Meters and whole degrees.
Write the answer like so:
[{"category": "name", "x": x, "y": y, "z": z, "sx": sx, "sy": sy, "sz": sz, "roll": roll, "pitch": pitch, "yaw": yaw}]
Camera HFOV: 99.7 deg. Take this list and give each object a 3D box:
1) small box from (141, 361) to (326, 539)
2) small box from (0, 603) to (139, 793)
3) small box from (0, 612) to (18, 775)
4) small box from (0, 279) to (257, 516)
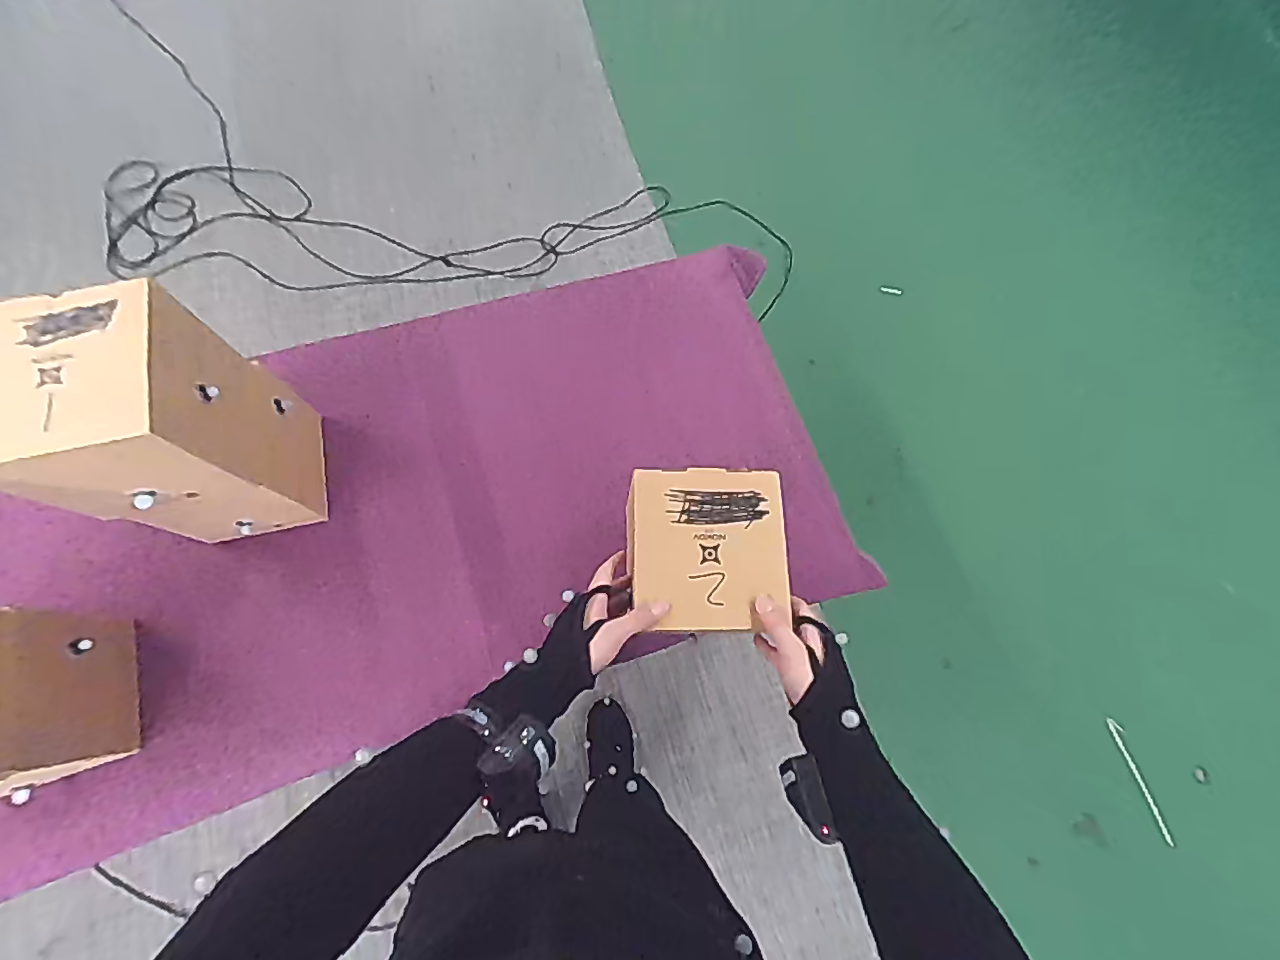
[{"category": "small box", "x": -0.551, "y": -0.033, "z": 0.731, "sx": 0.168, "sy": 0.176, "sz": 0.179, "roll": -11, "pitch": 74, "yaw": -8}, {"category": "small box", "x": -0.729, "y": 0.259, "z": 0.621, "sx": 0.168, "sy": 0.176, "sz": 0.179, "roll": -16, "pitch": 73, "yaw": -9}, {"category": "small box", "x": -0.712, "y": 0.212, "z": 0.467, "sx": 0.168, "sy": 0.176, "sz": 0.179, "roll": -16, "pitch": 71, "yaw": -8}, {"category": "small box", "x": -0.543, "y": -0.078, "z": 0.573, "sx": 0.168, "sy": 0.176, "sz": 0.179, "roll": -13, "pitch": 74, "yaw": -8}]
